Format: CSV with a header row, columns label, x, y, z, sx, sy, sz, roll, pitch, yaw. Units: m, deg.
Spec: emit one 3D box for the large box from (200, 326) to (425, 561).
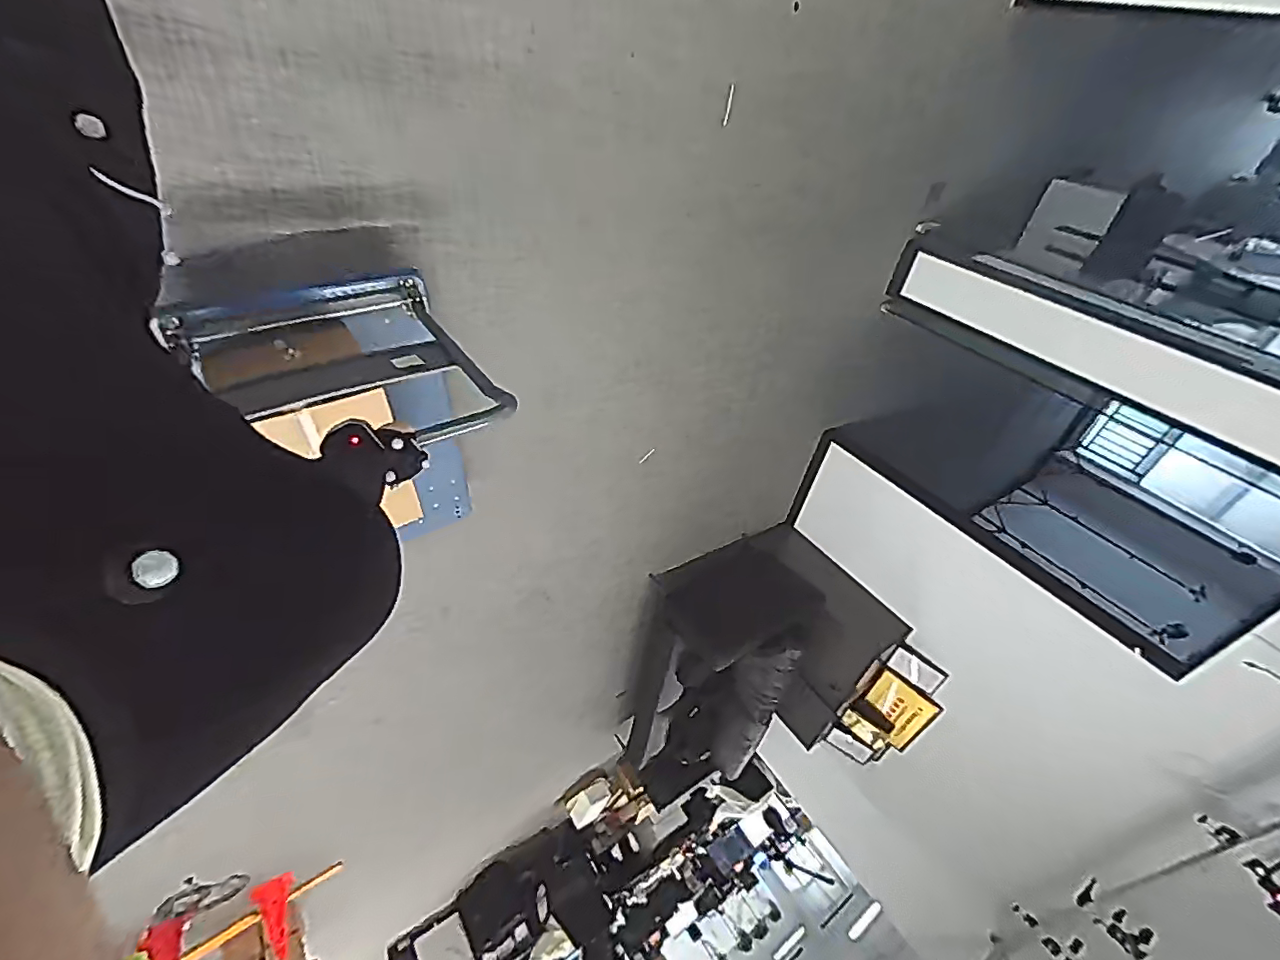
label,x,y,z,sx,sy,sz,roll,pitch,yaw
large box,-0.761,-0.092,1.290,0.320,0.320,0.408,-23,140,-27
